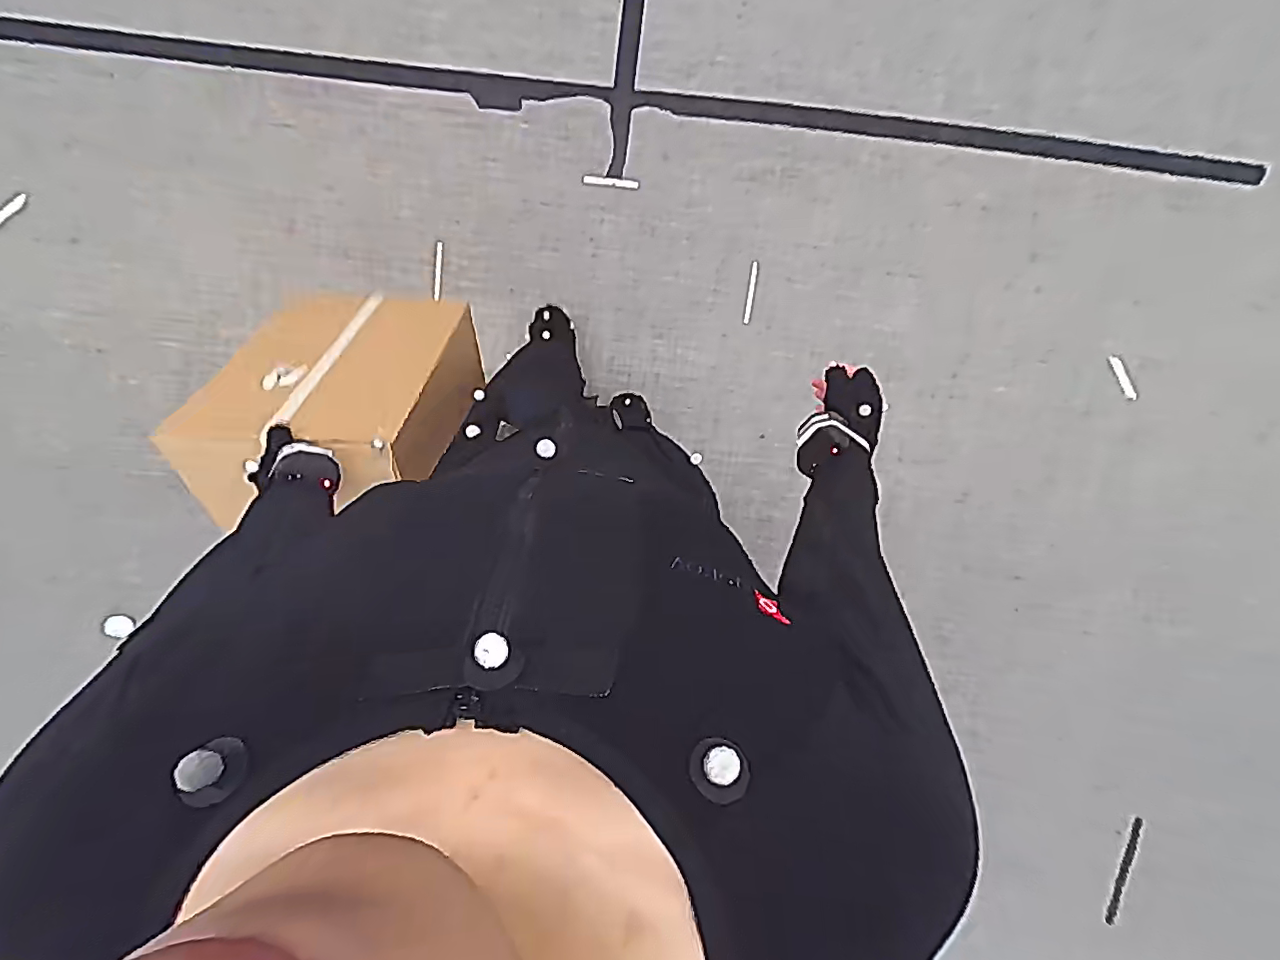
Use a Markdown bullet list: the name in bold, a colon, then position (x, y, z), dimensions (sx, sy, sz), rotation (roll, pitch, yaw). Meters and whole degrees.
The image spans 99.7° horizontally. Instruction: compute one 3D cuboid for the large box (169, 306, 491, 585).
- **large box**: position (-0.479, -0.071, 0.964), dimensions (0.320, 0.408, 0.320), rotation (2, 134, 1)
